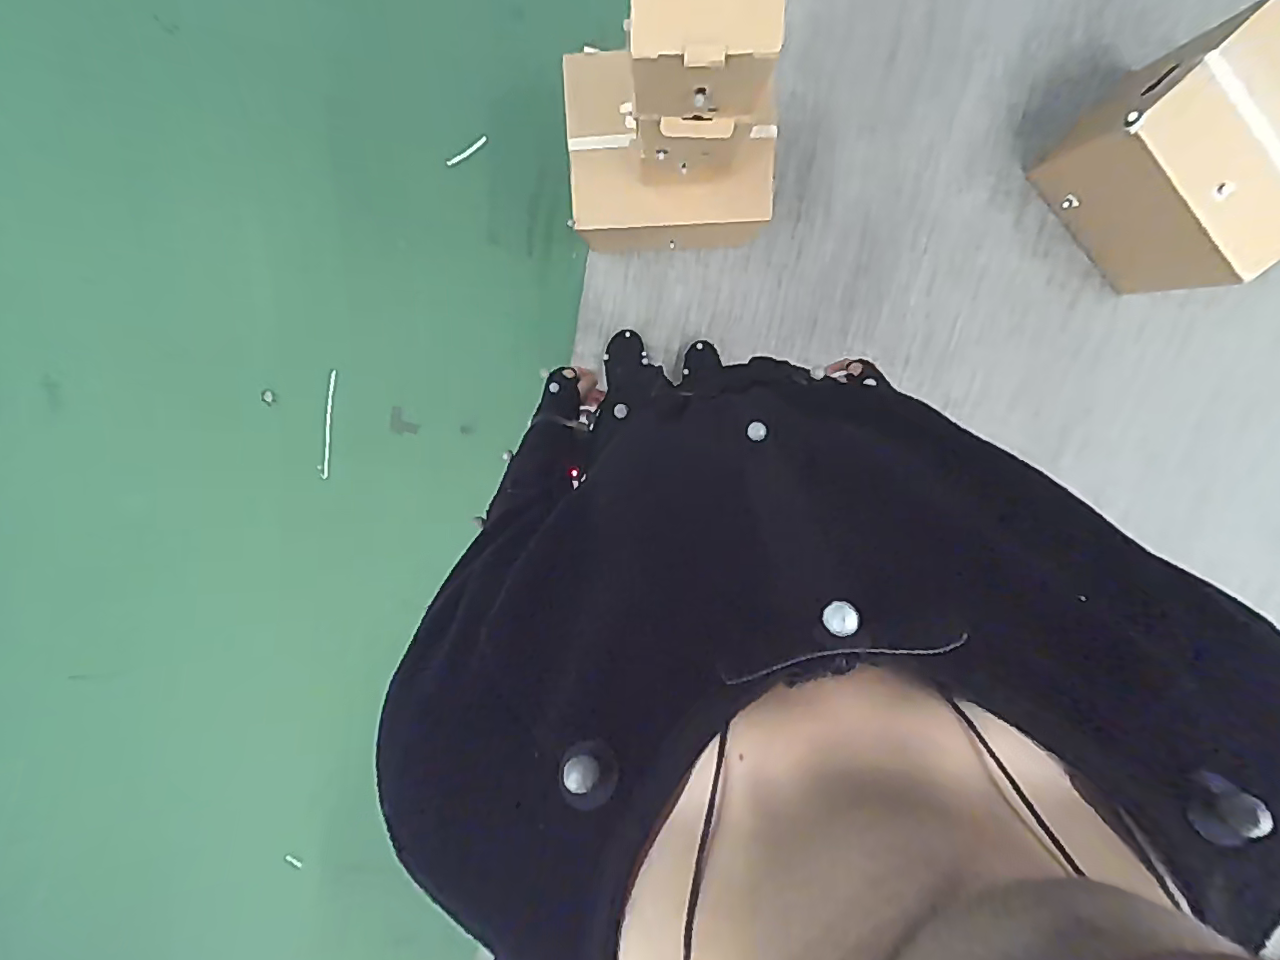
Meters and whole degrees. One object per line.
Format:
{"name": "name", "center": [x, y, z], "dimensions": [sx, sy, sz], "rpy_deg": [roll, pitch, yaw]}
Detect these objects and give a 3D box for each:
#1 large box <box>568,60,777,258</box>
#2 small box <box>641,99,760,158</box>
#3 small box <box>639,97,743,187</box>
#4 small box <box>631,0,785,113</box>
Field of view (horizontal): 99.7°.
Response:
{"name": "large box", "center": [0.079, -0.689, 1.200], "dimensions": [0.408, 0.320, 0.320], "rpy_deg": [-1, 102, 5]}
{"name": "small box", "center": [0.093, -0.597, 0.800], "dimensions": [0.168, 0.176, 0.179], "rpy_deg": [3, 105, 3]}
{"name": "small box", "center": [0.092, -0.632, 0.960], "dimensions": [0.179, 0.176, 0.168], "rpy_deg": [2, 105, 3]}
{"name": "small box", "center": [0.079, -0.560, 0.640], "dimensions": [0.168, 0.176, 0.179], "rpy_deg": [2, 106, 3]}
